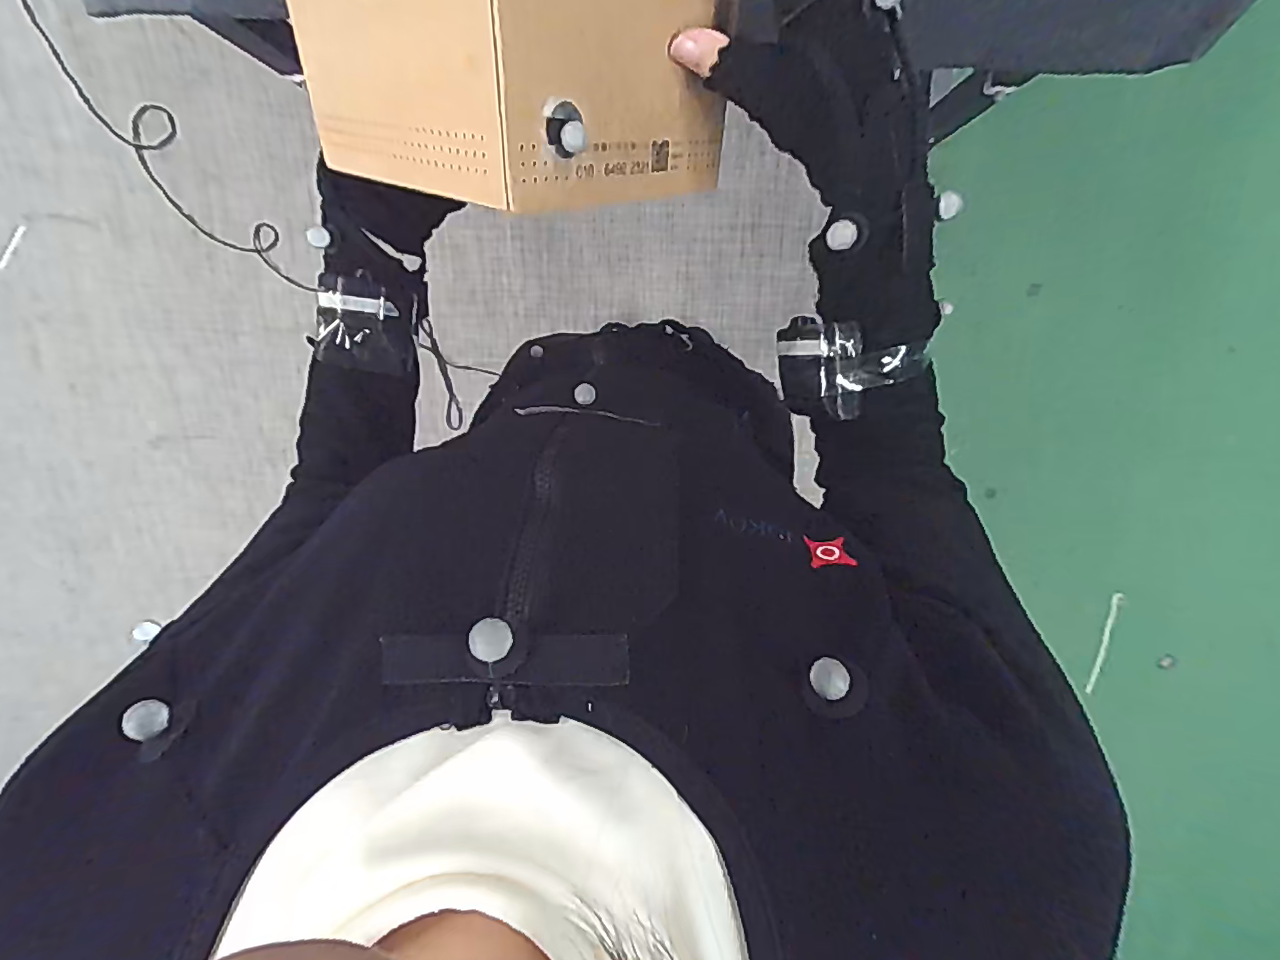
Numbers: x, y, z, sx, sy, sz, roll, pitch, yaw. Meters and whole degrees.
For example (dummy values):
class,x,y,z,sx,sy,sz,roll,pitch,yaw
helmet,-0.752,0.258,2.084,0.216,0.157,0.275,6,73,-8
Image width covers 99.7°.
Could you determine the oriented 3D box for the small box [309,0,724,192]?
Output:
class,x,y,z,sx,sy,sz,roll,pitch,yaw
small box,-0.063,-0.261,0.298,0.179,0.168,0.176,27,131,32
